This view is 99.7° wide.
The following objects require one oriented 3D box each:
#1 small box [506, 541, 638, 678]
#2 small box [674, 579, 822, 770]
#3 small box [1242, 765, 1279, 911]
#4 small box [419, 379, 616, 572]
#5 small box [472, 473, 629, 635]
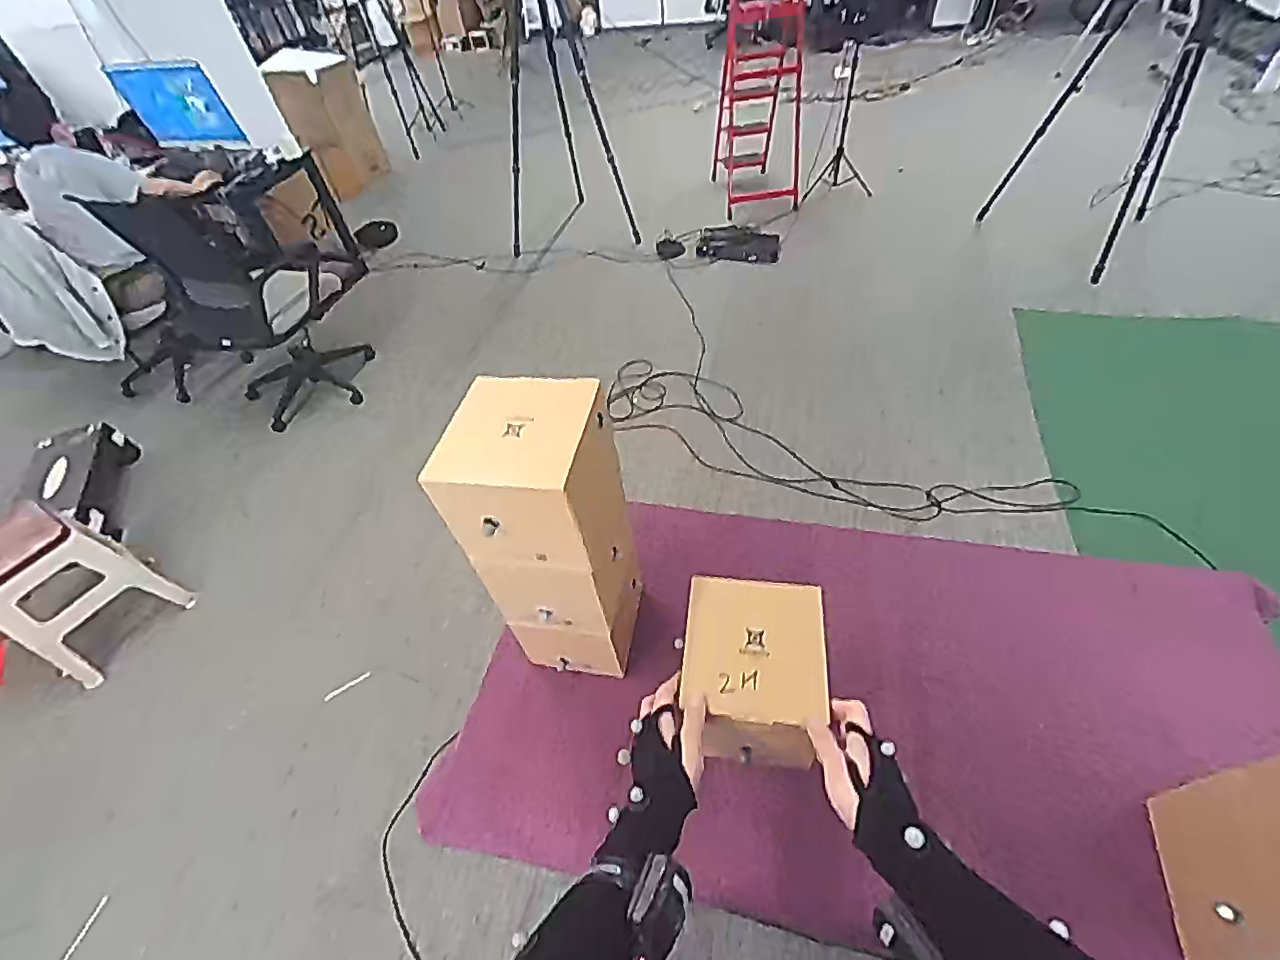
[{"bbox_3d":[-0.101,0.209,0.915,0.168,0.176,0.179,5,51,12],"label":"small box"},{"bbox_3d":[0.138,0.255,0.709,0.168,0.176,0.179,3,50,10],"label":"small box"},{"bbox_3d":[0.699,0.349,0.466,0.168,0.176,0.179,9,50,17],"label":"small box"},{"bbox_3d":[-0.133,-0.004,0.671,0.168,0.176,0.179,3,49,12],"label":"small box"},{"bbox_3d":[-0.116,0.102,0.792,0.168,0.176,0.179,4,50,12],"label":"small box"}]
